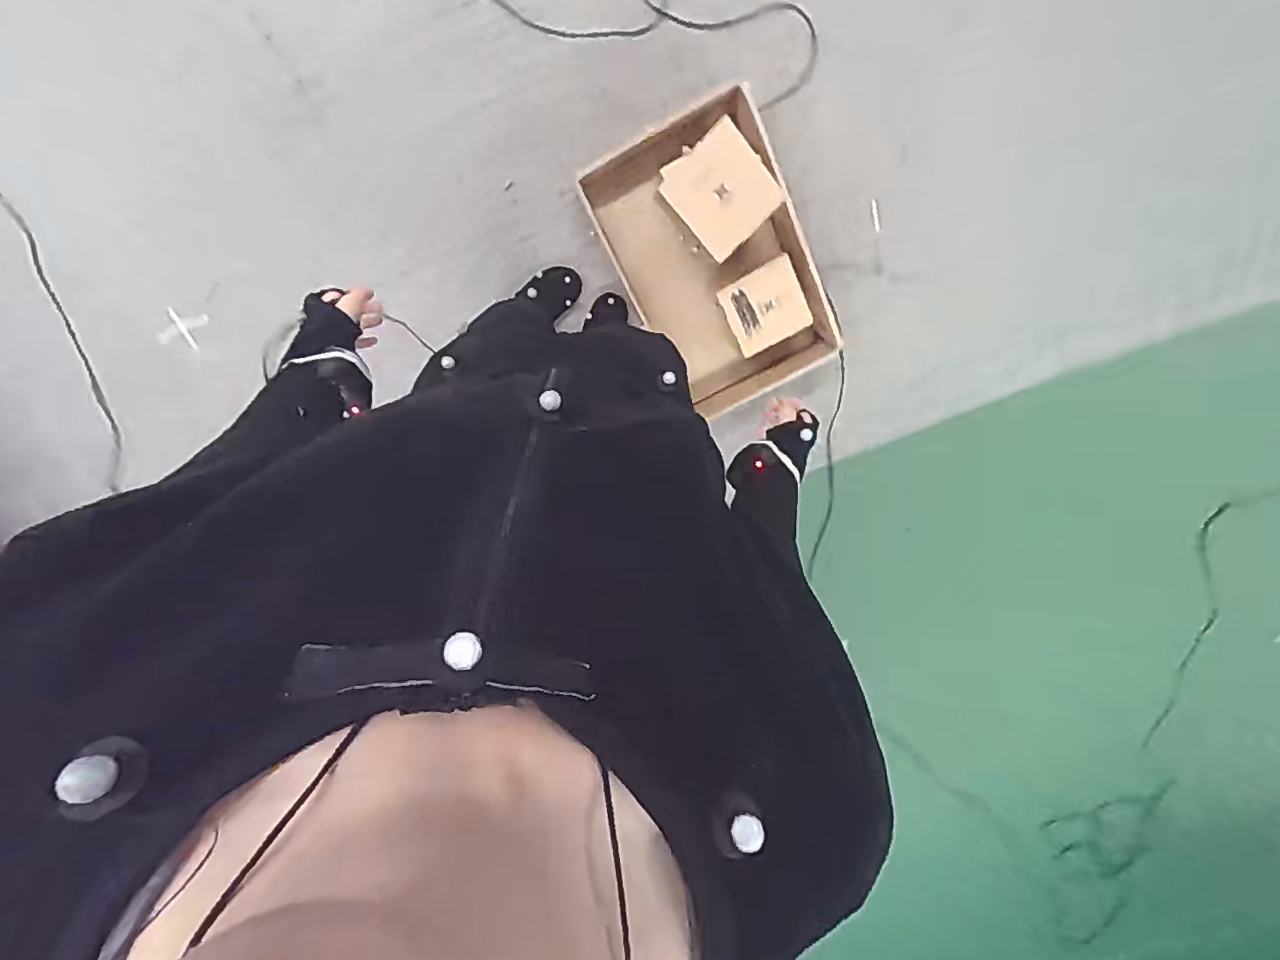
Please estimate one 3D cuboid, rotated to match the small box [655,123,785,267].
[{"bbox_3d":[0.147,-0.543,1.049,0.168,0.176,0.179,-41,109,14],"label":"small box"}]
